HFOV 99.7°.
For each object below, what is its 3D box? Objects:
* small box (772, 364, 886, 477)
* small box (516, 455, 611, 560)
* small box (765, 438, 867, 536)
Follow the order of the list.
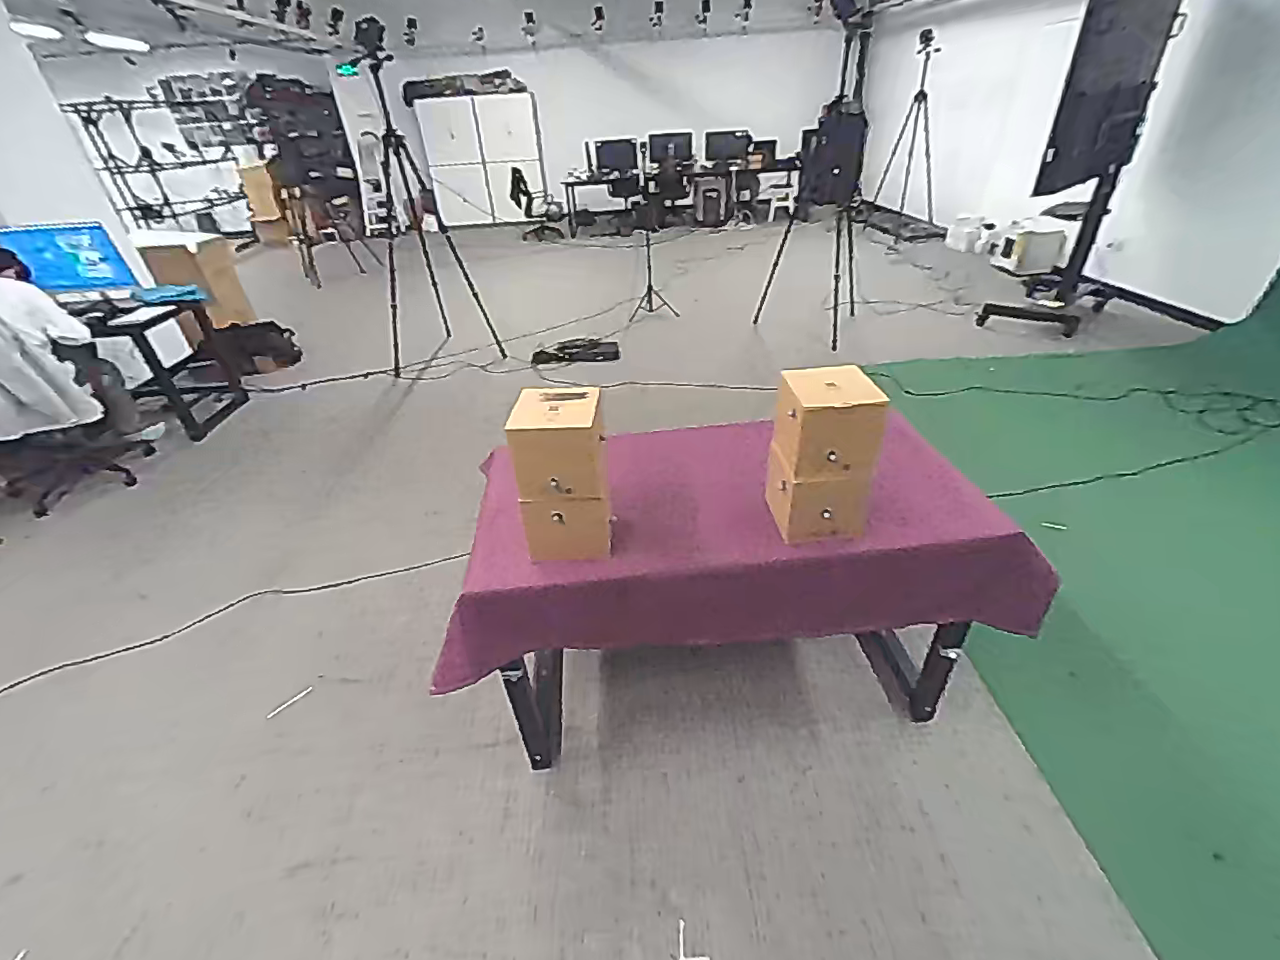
[{"bbox_3d":[0.378,-0.125,1.122,0.168,0.176,0.179,-5,36,-1],"label":"small box"},{"bbox_3d":[-0.162,0.062,1.197,0.179,0.176,0.168,-3,34,0],"label":"small box"},{"bbox_3d":[0.383,0.013,1.208,0.168,0.176,0.179,-5,34,-2],"label":"small box"}]
